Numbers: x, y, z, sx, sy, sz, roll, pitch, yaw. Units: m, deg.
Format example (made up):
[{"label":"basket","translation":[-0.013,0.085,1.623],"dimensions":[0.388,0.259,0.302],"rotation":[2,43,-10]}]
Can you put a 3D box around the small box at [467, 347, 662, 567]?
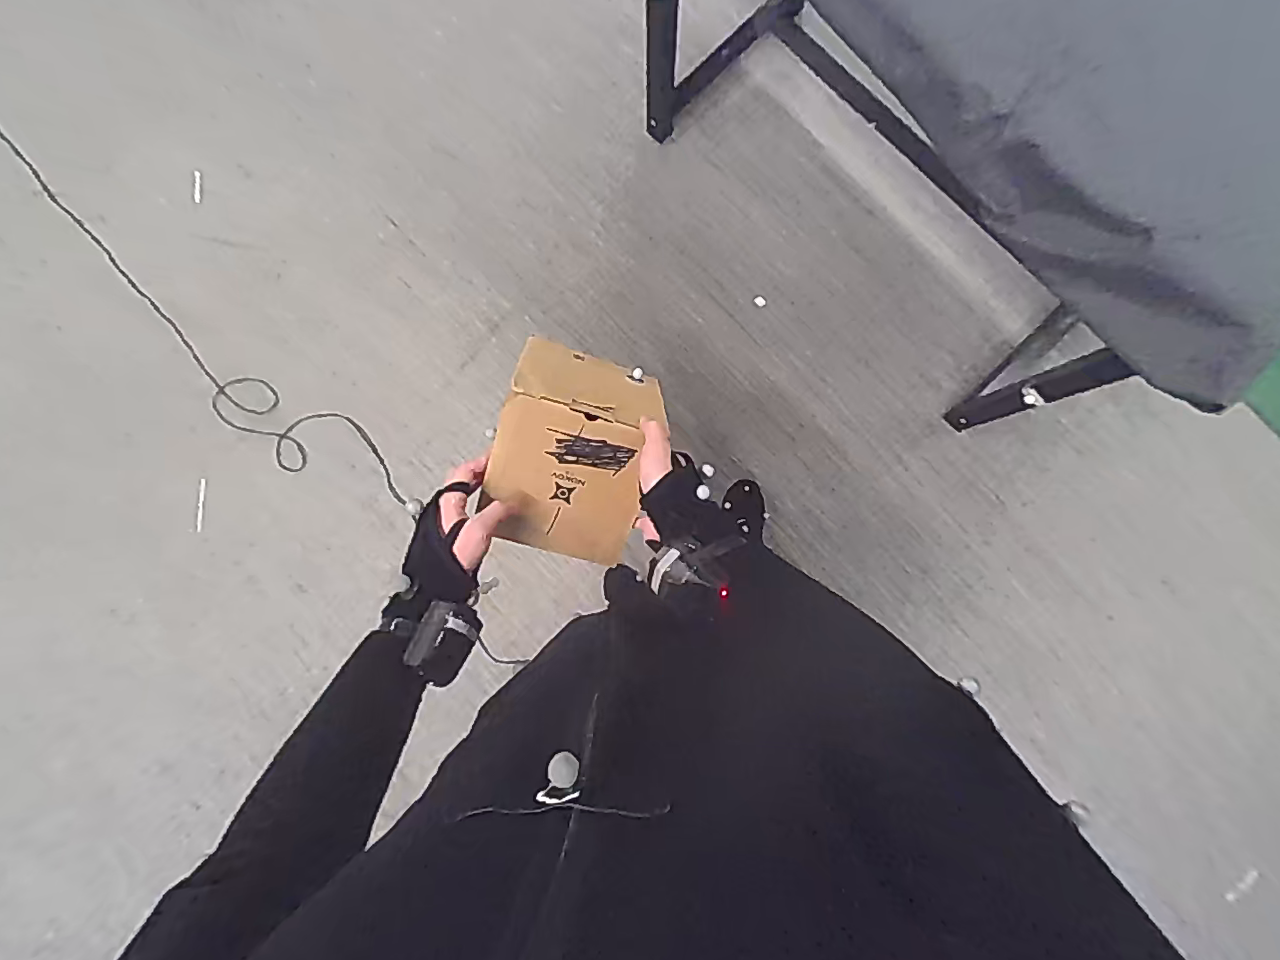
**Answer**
[{"label":"small box","translation":[-0.086,-0.034,0.626],"dimensions":[0.168,0.176,0.179],"rotation":[16,119,-11]}]
